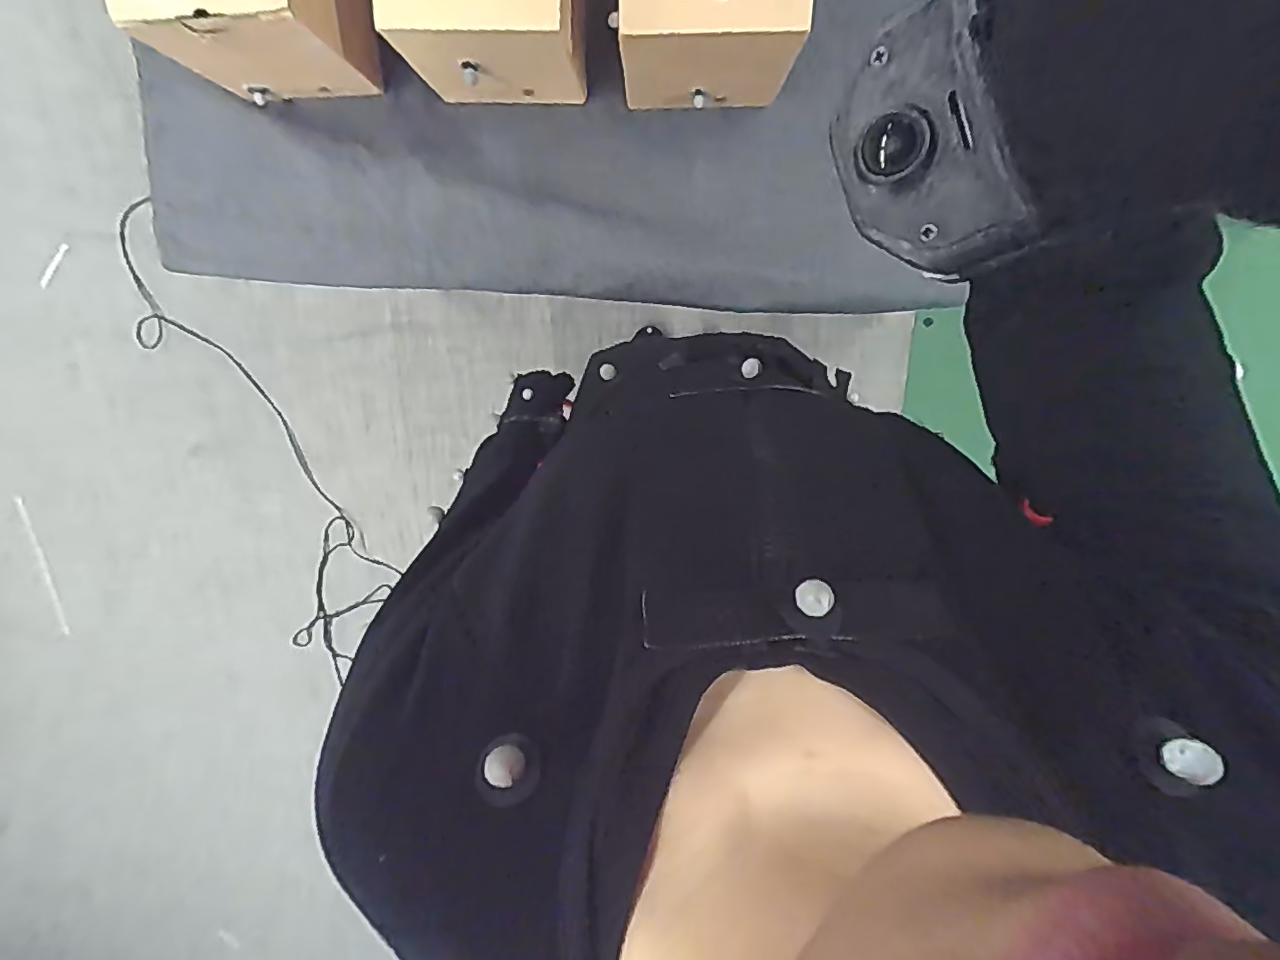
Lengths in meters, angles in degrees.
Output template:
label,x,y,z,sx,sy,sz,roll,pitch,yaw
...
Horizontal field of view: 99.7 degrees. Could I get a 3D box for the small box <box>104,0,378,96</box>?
label,x,y,z,sx,sy,sz,roll,pitch,yaw
small box,-0.380,-0.500,0.524,0.168,0.176,0.179,-1,104,2

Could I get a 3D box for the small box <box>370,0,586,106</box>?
label,x,y,z,sx,sy,sz,roll,pitch,yaw
small box,-0.144,-0.488,0.520,0.168,0.176,0.179,2,105,2
